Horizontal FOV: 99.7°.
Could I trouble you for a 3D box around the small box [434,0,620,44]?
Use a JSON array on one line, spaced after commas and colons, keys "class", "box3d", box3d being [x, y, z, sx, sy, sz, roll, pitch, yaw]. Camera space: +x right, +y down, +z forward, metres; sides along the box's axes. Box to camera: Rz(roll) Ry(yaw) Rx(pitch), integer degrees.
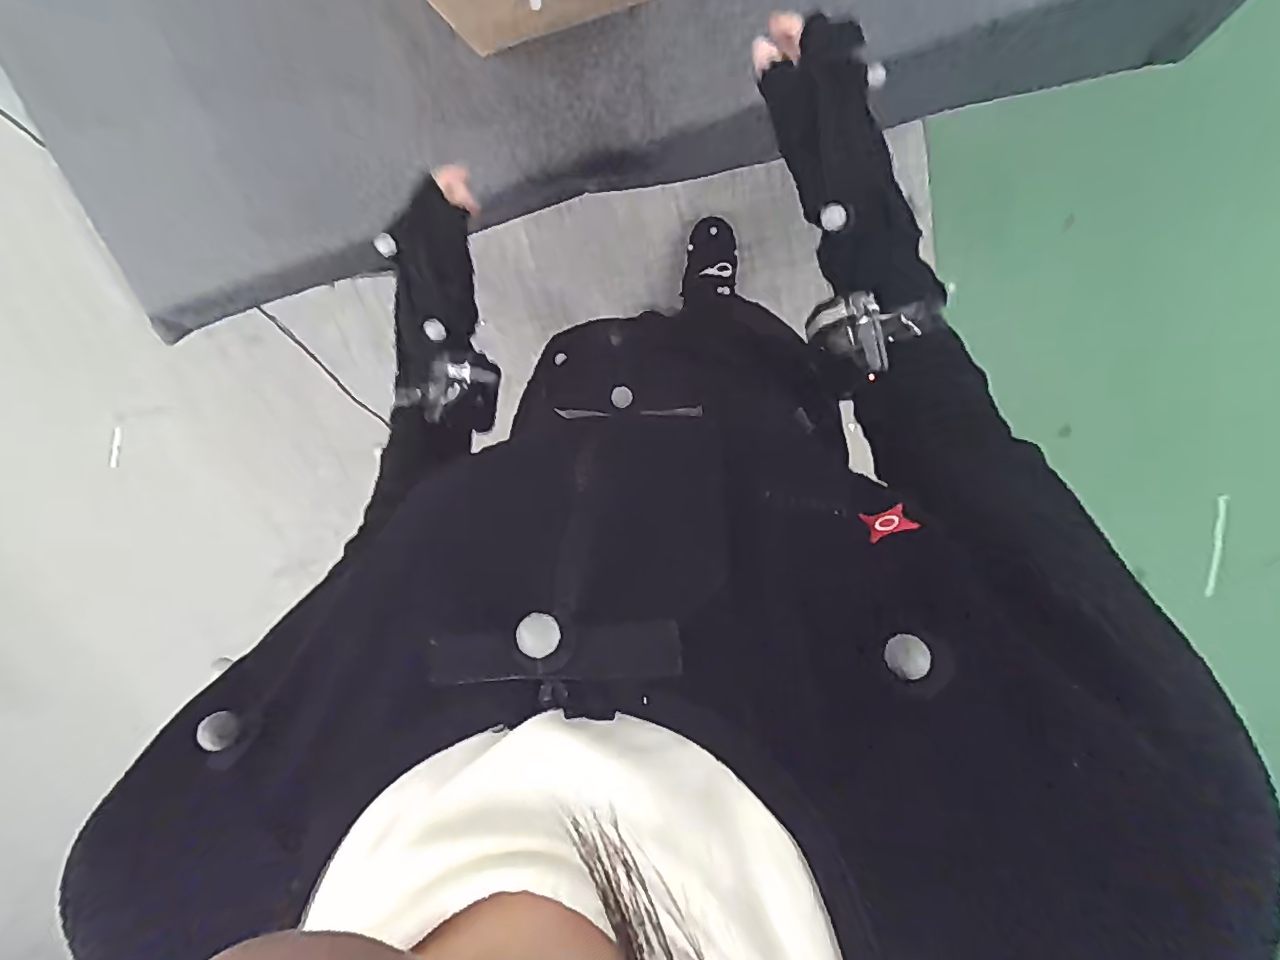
[{"class": "small box", "box3d": [-0.097, -0.480, 0.414, 0.179, 0.176, 0.168, -11, 111, 9]}]
